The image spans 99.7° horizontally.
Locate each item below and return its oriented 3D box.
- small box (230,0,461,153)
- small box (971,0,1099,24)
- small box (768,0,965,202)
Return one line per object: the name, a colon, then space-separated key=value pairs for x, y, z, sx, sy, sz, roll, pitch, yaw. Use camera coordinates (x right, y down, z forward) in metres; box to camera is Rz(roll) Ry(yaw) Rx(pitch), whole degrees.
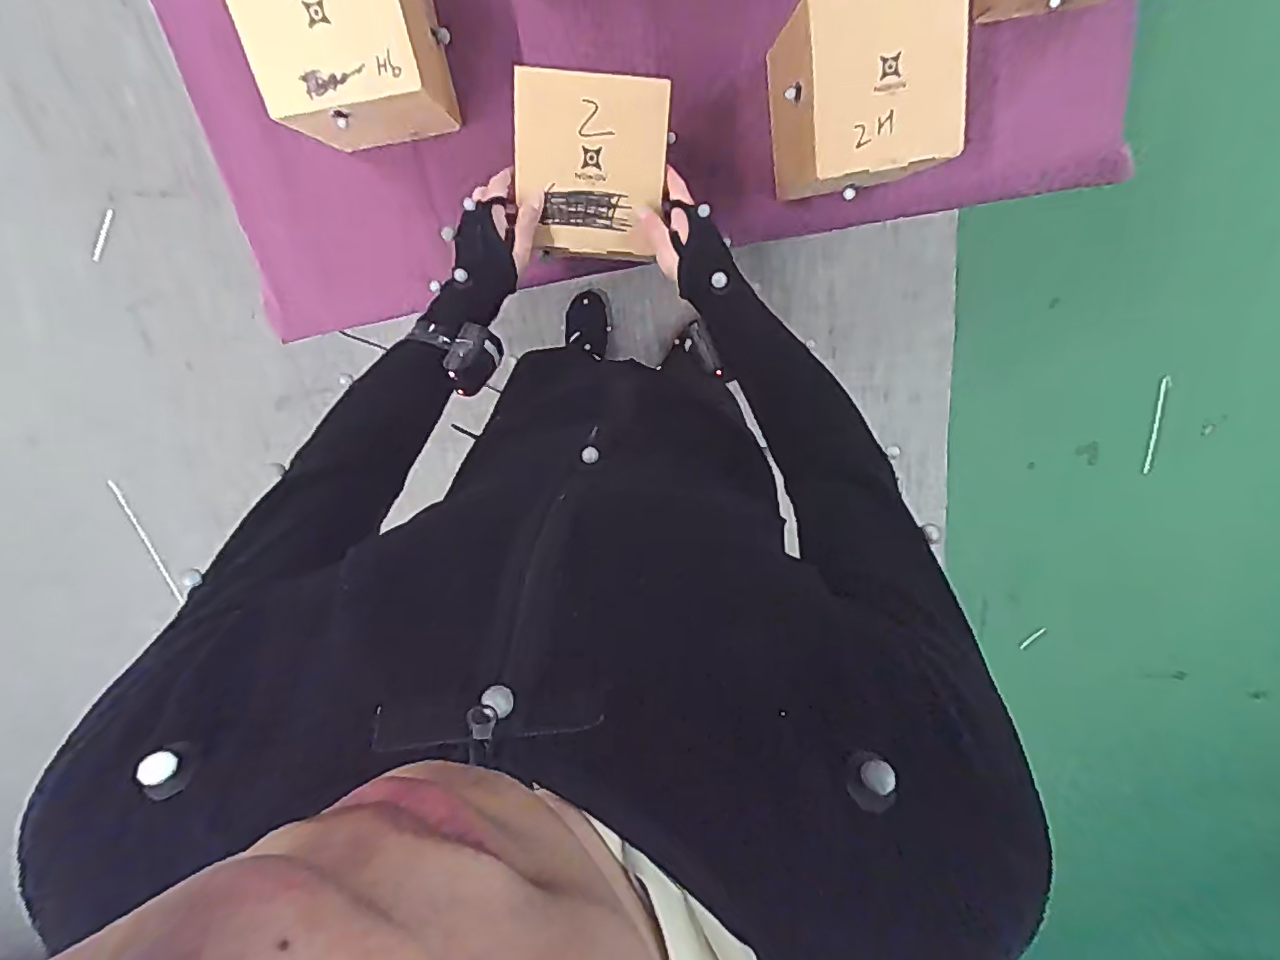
small box: x=-0.322 y=-0.496 z=0.607 sx=0.168 sy=0.176 sz=0.179 roll=-10 pitch=110 yaw=2
small box: x=0.495 y=-0.650 z=0.592 sx=0.168 sy=0.176 sz=0.179 roll=-8 pitch=111 yaw=1
small box: x=0.258 y=-0.454 z=0.652 sx=0.168 sy=0.176 sz=0.179 roll=-9 pitch=110 yaw=1
